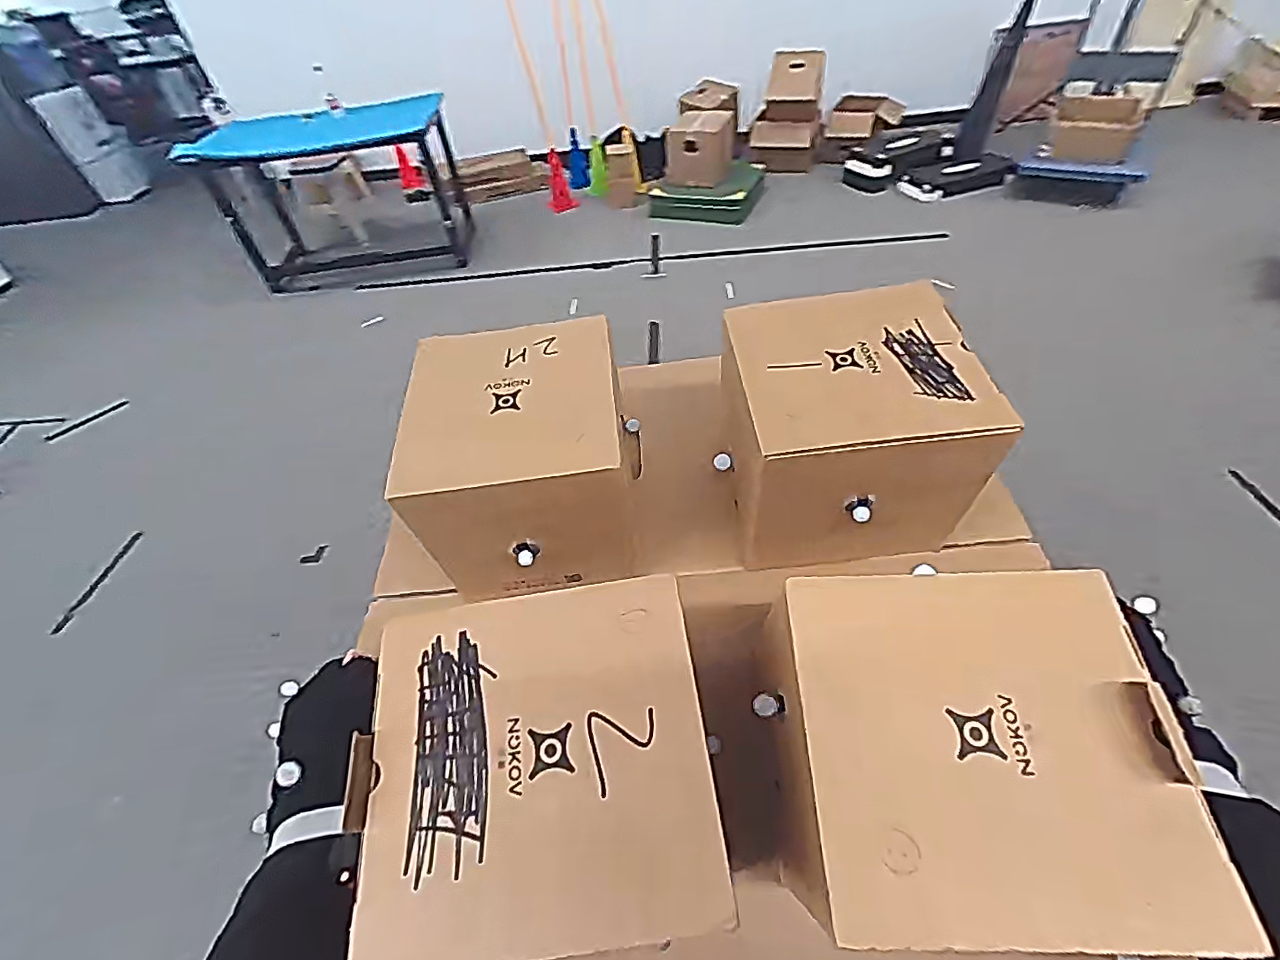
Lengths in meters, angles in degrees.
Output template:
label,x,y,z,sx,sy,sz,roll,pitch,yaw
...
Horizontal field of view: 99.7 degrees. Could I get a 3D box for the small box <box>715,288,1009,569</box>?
label,x,y,z,sx,sy,sz,roll,pitch,yaw
small box,0.163,-0.038,0.470,0.179,0.176,0.168,-7,53,3

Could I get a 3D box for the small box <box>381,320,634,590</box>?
label,x,y,z,sx,sy,sz,roll,pitch,yaw
small box,-0.098,-0.013,0.484,0.168,0.176,0.179,-7,52,1
